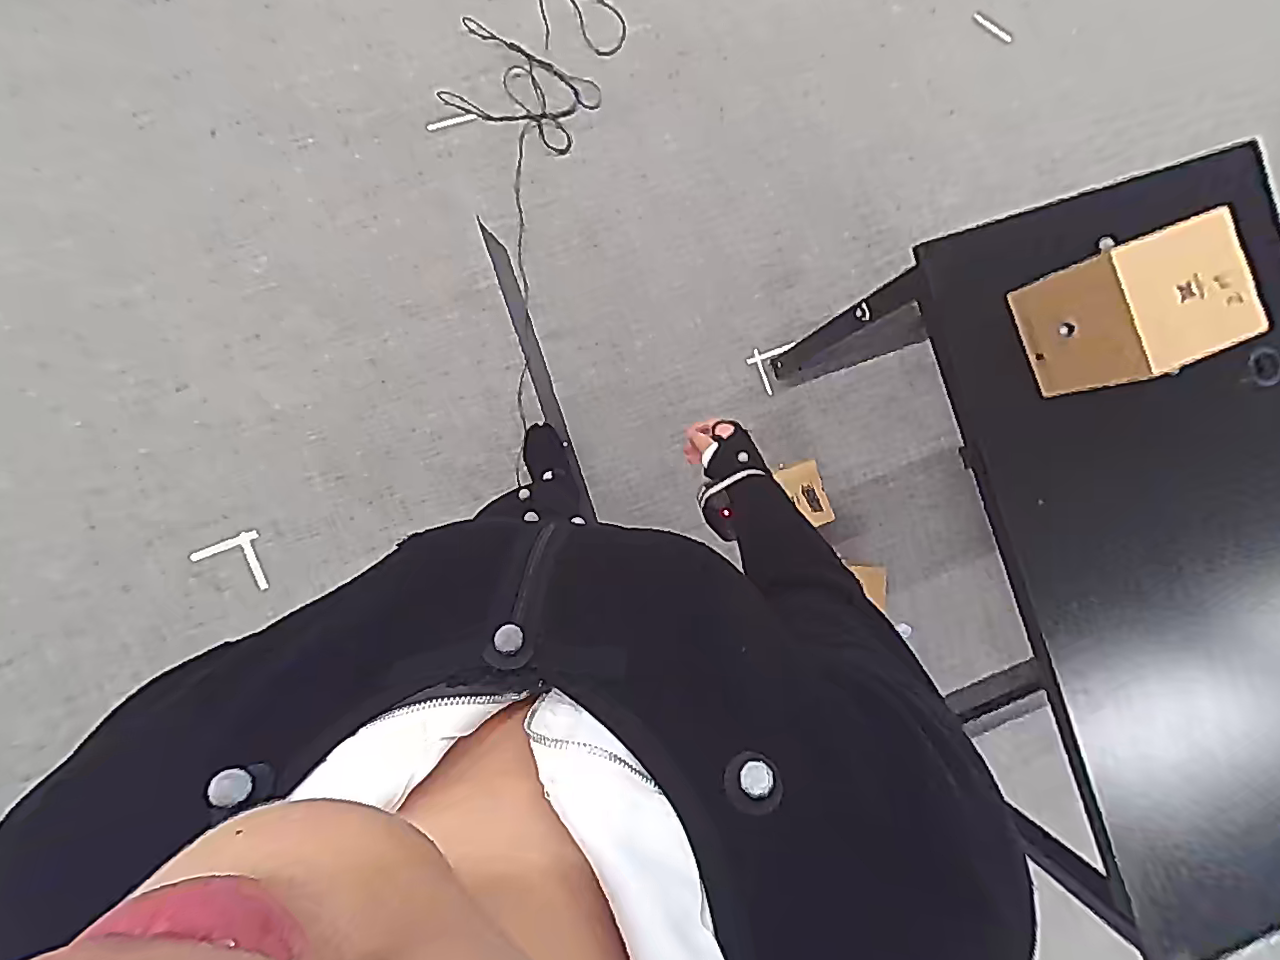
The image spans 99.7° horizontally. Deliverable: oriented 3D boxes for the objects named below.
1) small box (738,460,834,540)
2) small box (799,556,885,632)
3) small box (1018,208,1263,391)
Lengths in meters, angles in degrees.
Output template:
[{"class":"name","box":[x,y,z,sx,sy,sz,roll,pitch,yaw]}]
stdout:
[{"class":"small box","box":[0.387,0.050,1.460,0.179,0.176,0.168,-20,91,-4]},{"class":"small box","box":[0.545,0.306,1.473,0.168,0.176,0.179,2,88,-6]},{"class":"small box","box":[0.673,-0.237,0.754,0.179,0.176,0.168,-22,92,-5]}]
